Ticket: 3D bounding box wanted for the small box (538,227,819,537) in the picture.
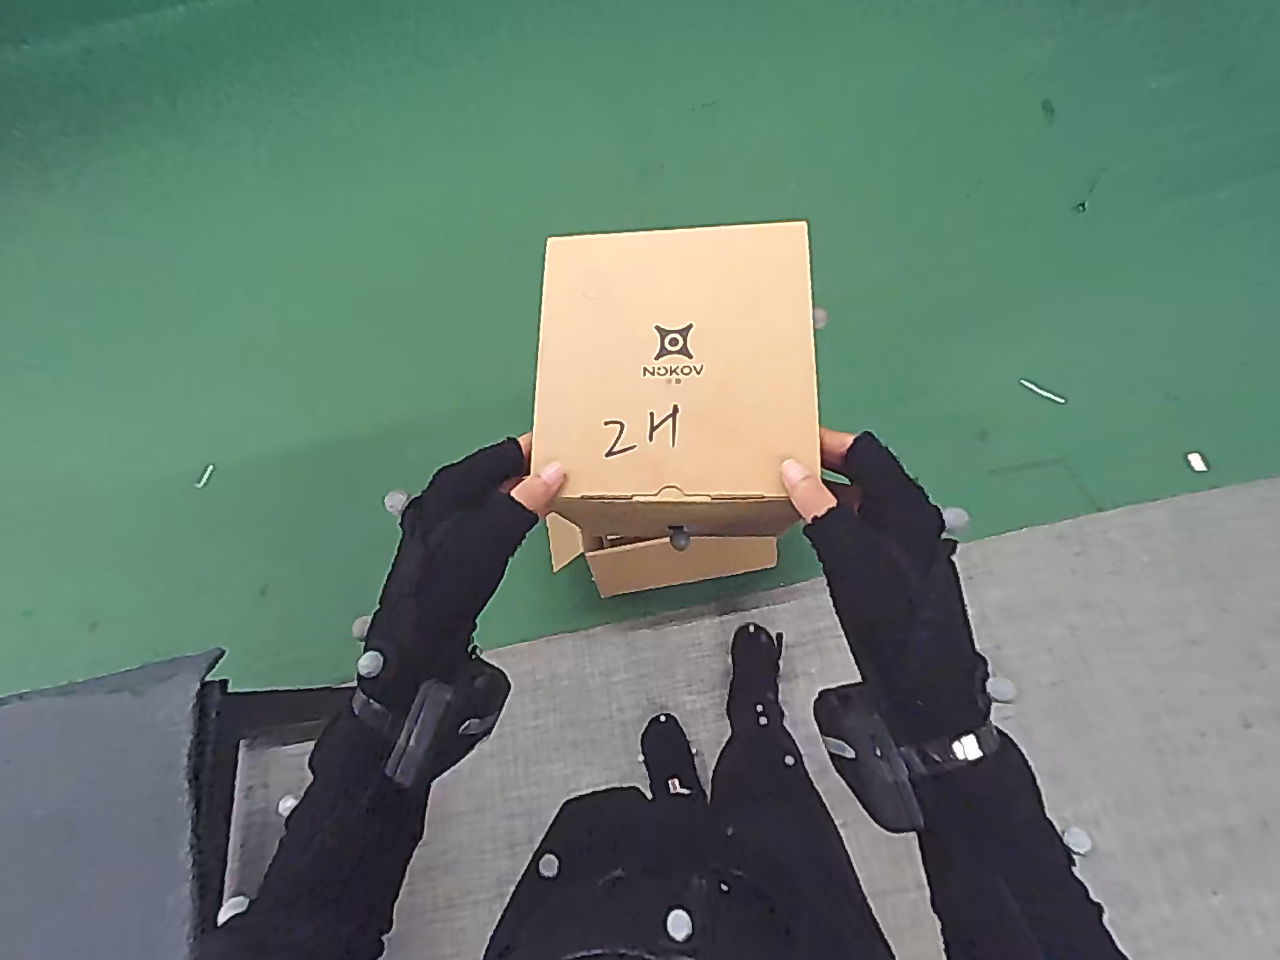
[{"bbox_3d":[0.033,-0.058,0.409,0.168,0.176,0.179,0,76,8],"label":"small box"}]
